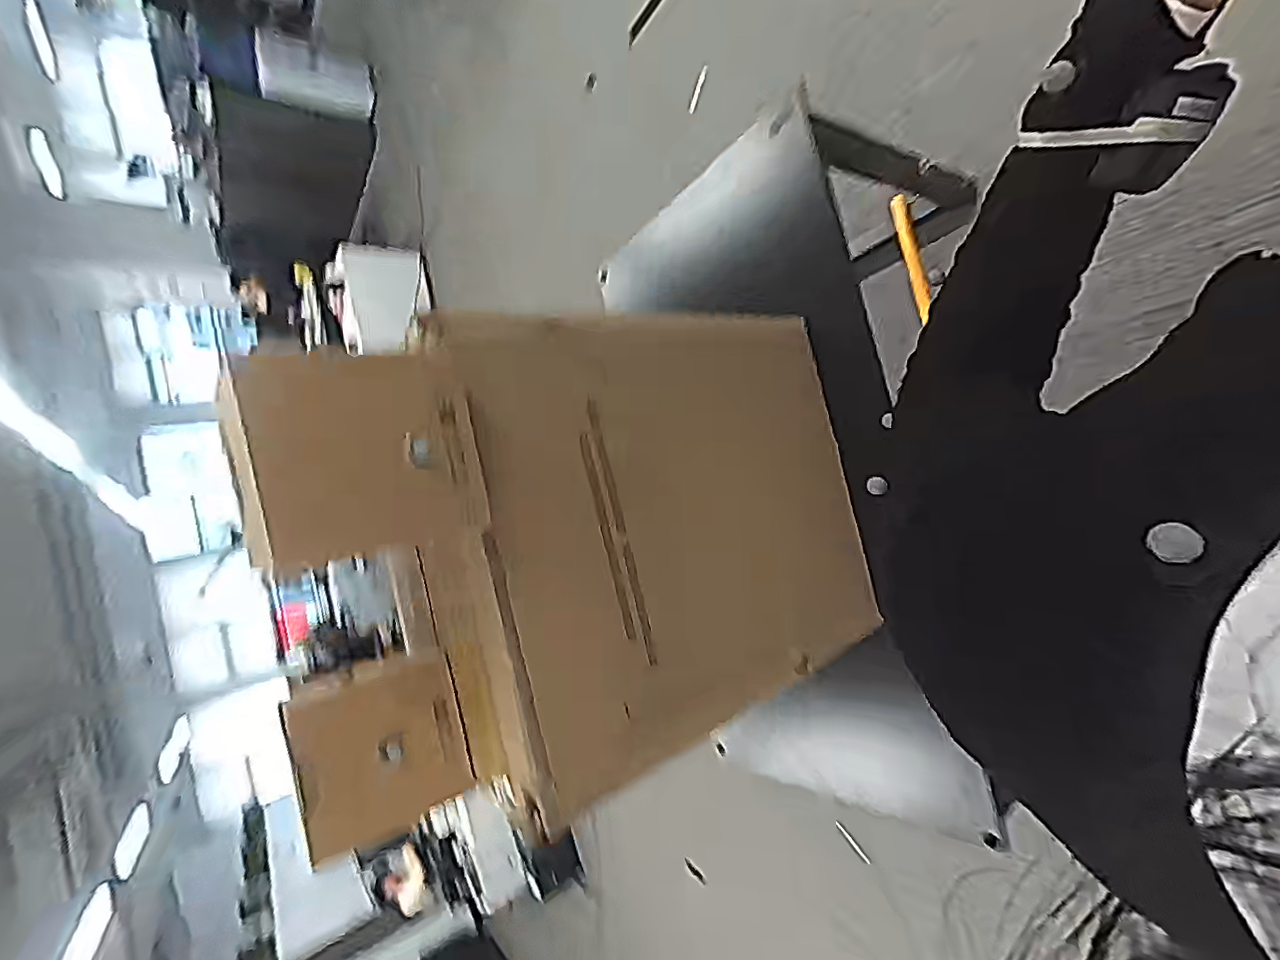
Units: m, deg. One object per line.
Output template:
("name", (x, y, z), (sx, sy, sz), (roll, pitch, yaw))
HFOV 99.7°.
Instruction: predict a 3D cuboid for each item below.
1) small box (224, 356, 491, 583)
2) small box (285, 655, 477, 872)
("small box", (-0.261, -0.012, 0.502), (0.179, 0.176, 0.168), (-9, 94, 49))
("small box", (-0.312, 0.320, 0.655), (0.179, 0.176, 0.168), (-25, 78, 53))
